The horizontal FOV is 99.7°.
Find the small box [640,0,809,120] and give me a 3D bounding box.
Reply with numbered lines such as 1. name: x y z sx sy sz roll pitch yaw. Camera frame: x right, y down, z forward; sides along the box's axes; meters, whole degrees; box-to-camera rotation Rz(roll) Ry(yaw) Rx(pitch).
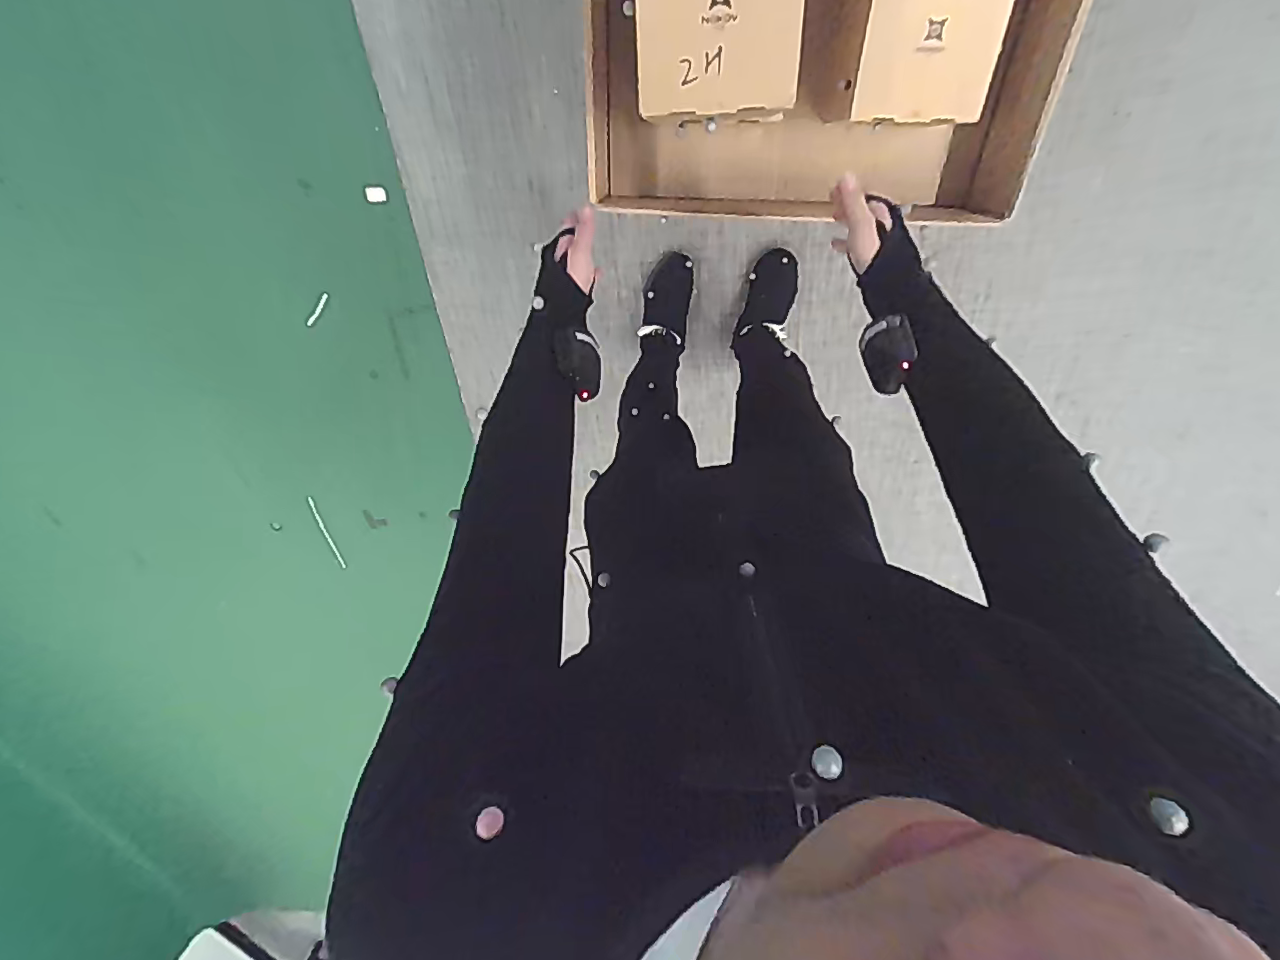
1. small box: 0.085 -0.502 0.591 0.168 0.176 0.179 1 124 4
